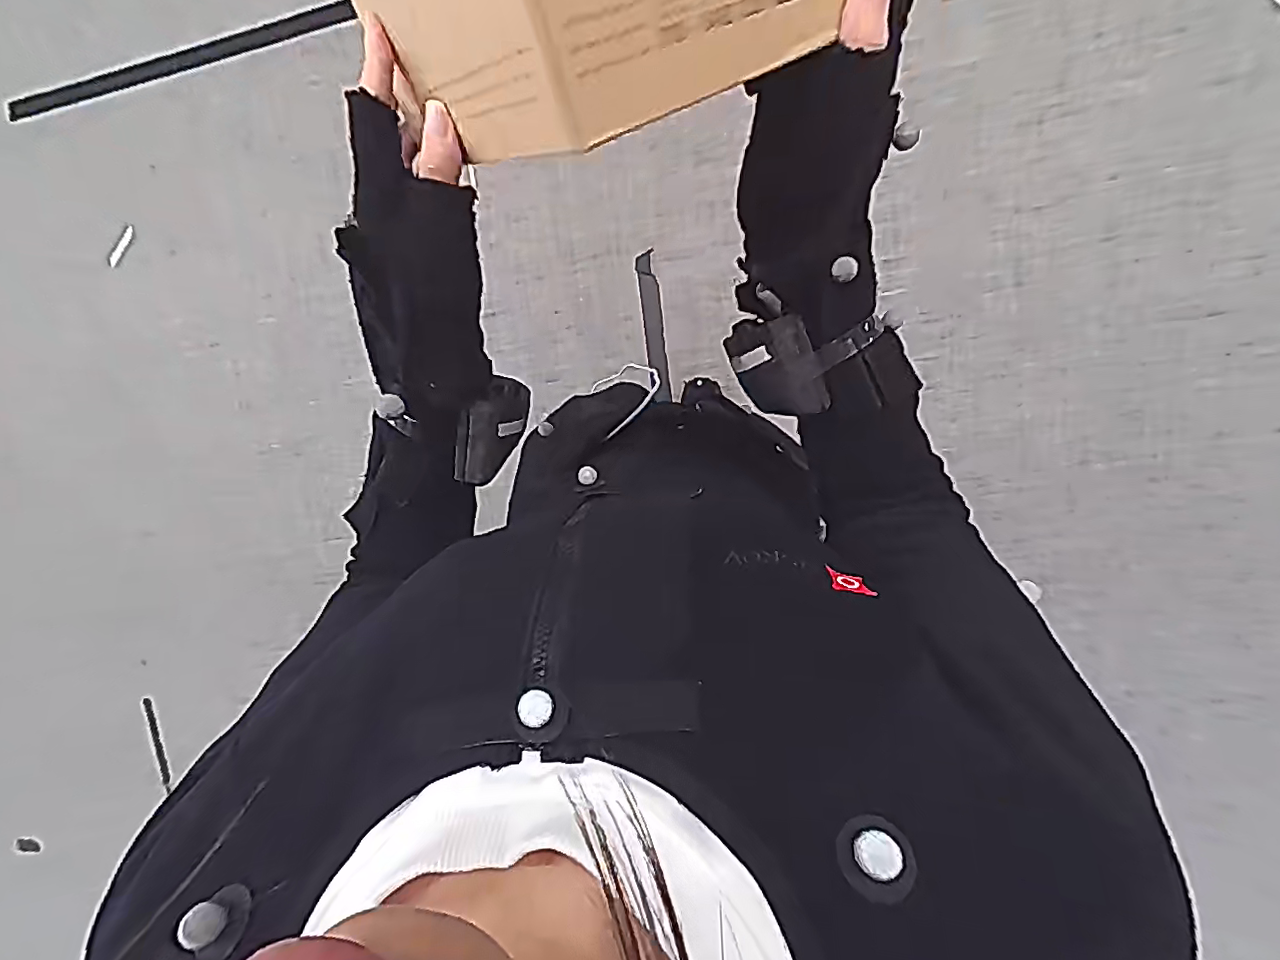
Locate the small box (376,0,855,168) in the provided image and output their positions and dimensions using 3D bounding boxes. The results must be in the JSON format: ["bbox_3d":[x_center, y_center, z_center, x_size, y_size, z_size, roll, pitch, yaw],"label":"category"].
[{"bbox_3d":[-0.027,-0.253,0.236,0.168,0.179,0.176,-33,129,-17],"label":"small box"}]
